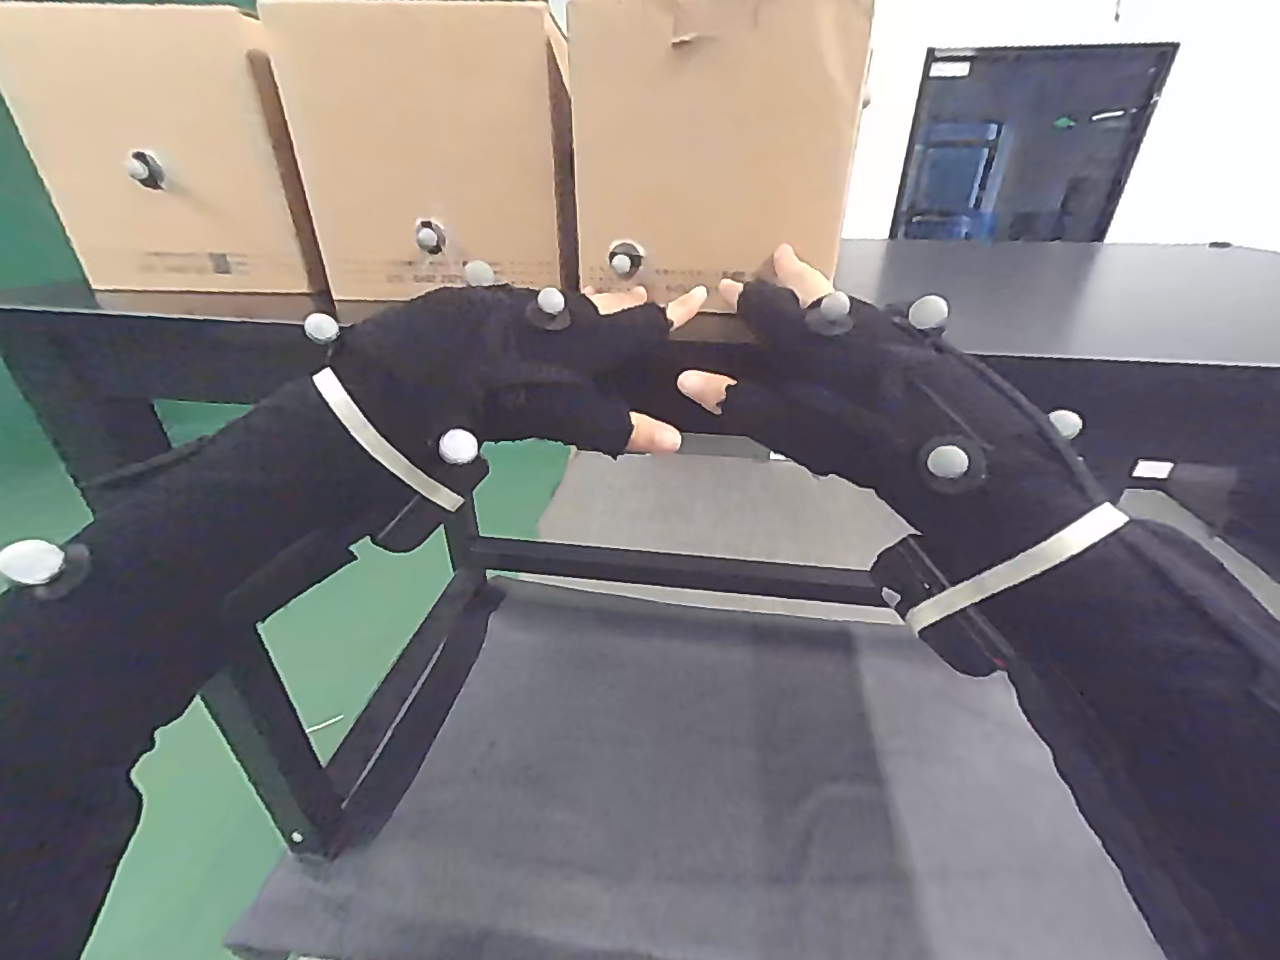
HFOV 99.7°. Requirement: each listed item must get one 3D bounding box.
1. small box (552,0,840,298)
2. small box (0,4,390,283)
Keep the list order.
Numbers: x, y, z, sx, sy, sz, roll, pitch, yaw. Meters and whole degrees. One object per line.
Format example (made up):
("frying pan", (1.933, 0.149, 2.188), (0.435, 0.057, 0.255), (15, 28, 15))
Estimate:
("small box", (0.047, -0.237, 0.405), (0.168, 0.176, 0.179), (6, 28, 11))
("small box", (-0.332, -0.264, 0.451), (0.168, 0.176, 0.179), (2, 28, 0))
